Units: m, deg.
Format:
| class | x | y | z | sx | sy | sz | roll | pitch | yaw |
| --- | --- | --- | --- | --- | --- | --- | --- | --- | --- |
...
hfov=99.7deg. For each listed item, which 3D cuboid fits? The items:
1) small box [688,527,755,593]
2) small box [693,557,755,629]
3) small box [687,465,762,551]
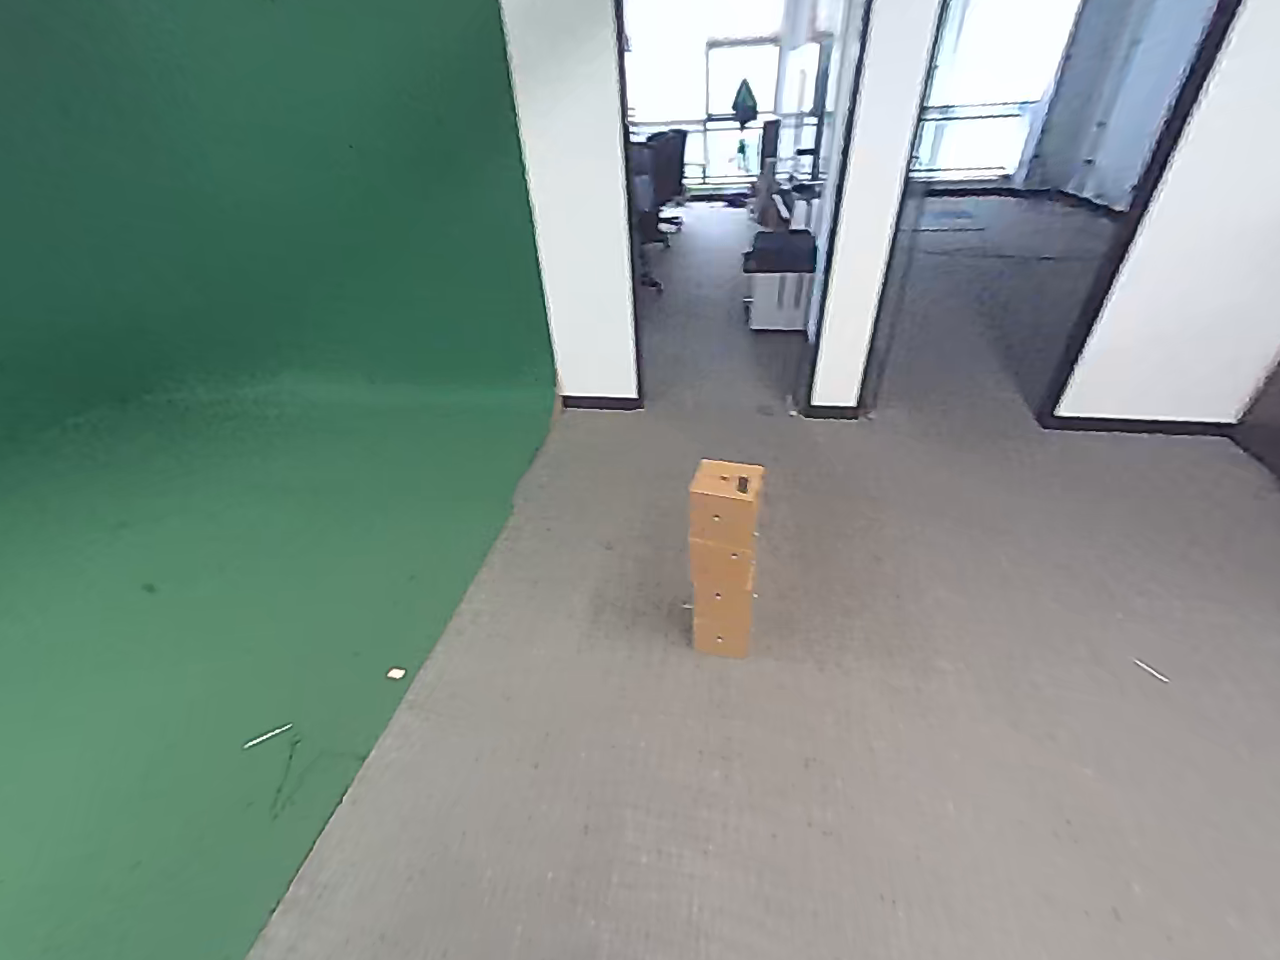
| class | x | y | z | sx | sy | sz | roll | pitch | yaw |
| --- | --- | --- | --- | --- | --- | --- | --- | --- | --- |
| small box | 0.244 | 0.215 | 1.617 | 0.179 | 0.176 | 0.168 | 8 | 37 | 15 |
| small box | 0.266 | 0.348 | 1.709 | 0.179 | 0.176 | 0.168 | 5 | 37 | 13 |
| small box | 0.239 | 0.080 | 1.524 | 0.179 | 0.176 | 0.168 | 8 | 37 | 18 |
